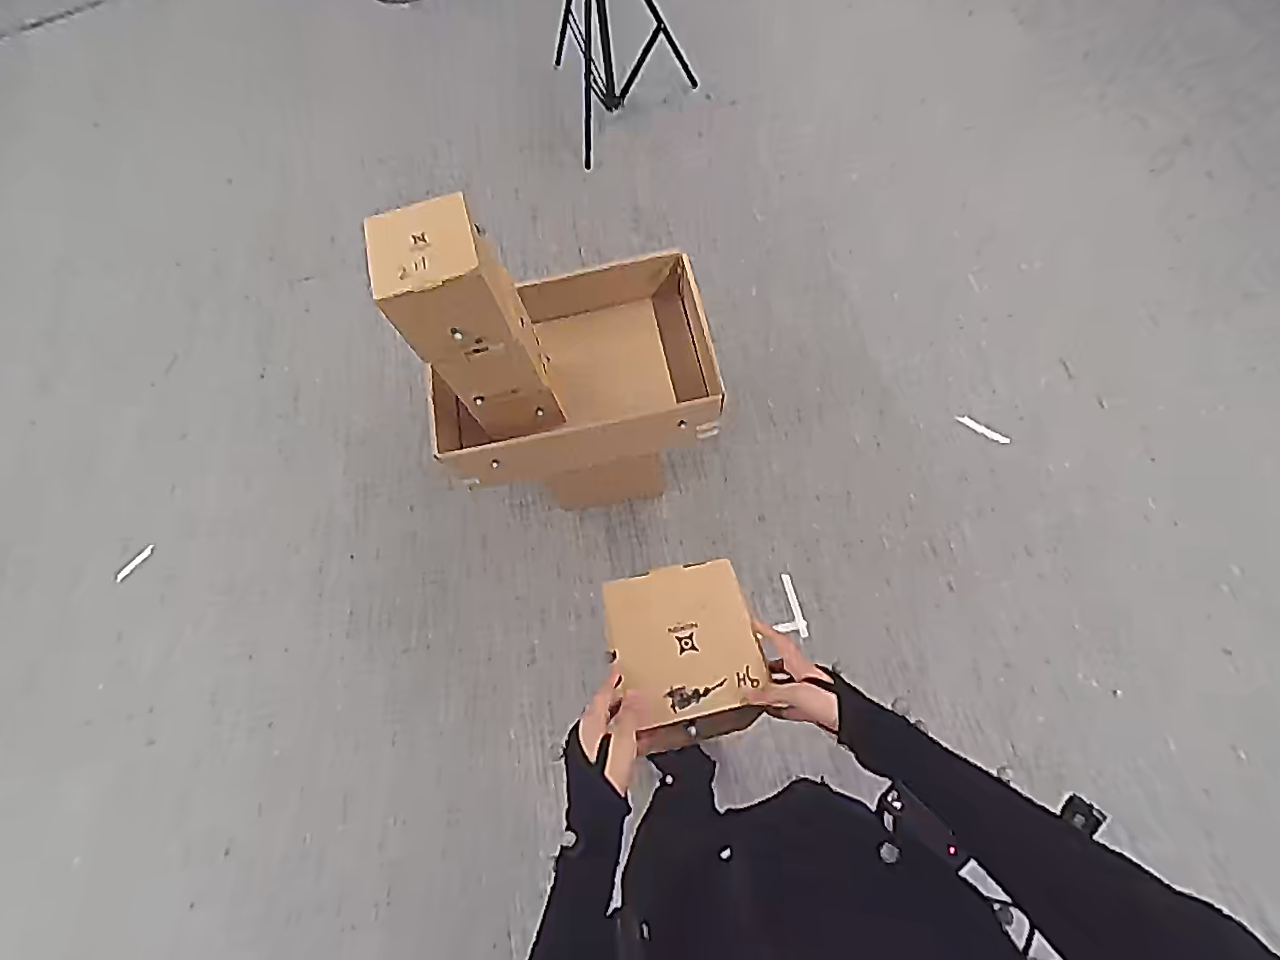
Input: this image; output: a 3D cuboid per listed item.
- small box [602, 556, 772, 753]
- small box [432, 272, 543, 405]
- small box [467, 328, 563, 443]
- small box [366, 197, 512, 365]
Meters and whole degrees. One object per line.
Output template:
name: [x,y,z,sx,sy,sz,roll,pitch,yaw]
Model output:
small box: [0.045,0.222,0.684,0.168,0.176,0.179,-9,55,-8]
small box: [-0.299,-0.264,1.054,0.168,0.176,0.179,-15,68,0]
small box: [-0.280,-0.204,1.205,0.179,0.176,0.168,-17,69,0]
small box: [-0.328,-0.325,0.903,0.168,0.176,0.179,-17,68,-1]
